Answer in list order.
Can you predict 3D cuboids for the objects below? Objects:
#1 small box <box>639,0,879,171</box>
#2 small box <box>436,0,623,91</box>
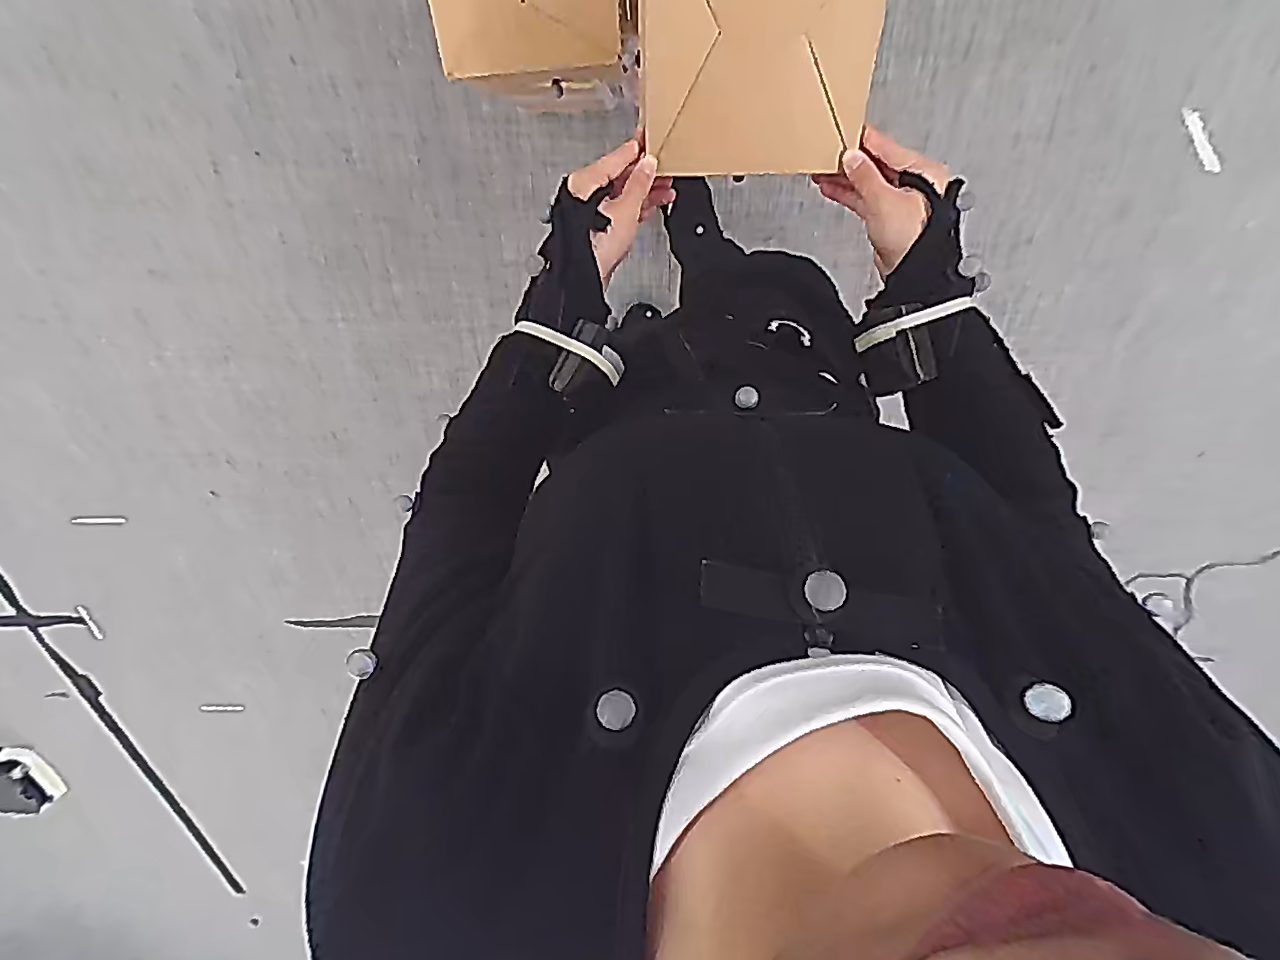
[{"bbox_3d":[0.083,-0.363,0.445,0.168,0.176,0.179,-2,127,-1],"label":"small box"},{"bbox_3d":[-0.112,-0.513,0.553,0.179,0.176,0.168,-4,123,2],"label":"small box"}]
